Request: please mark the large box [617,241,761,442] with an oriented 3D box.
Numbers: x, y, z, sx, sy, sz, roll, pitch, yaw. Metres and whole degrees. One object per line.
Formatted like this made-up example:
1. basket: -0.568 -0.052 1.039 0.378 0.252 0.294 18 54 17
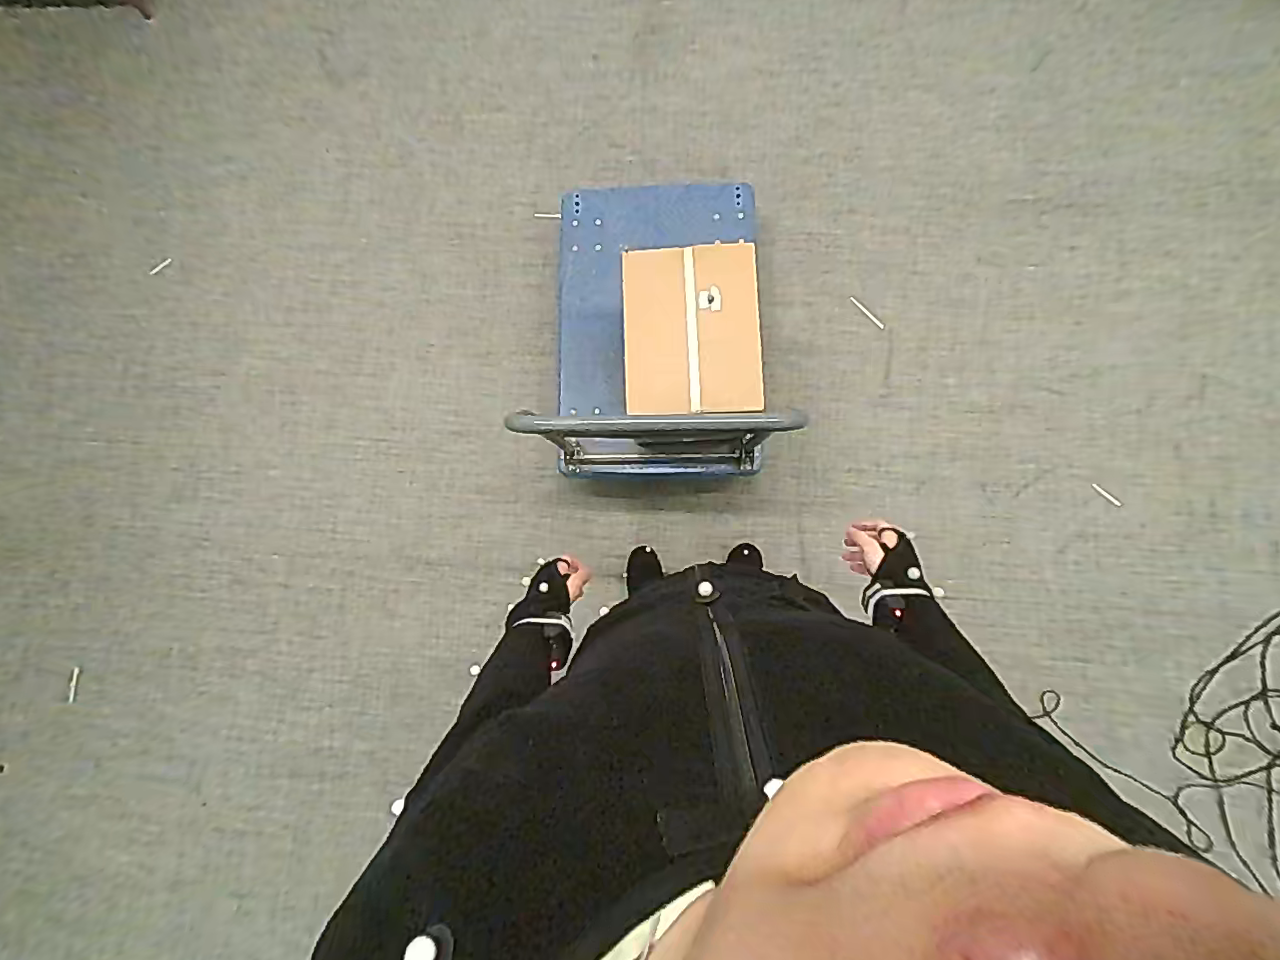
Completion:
1. large box: 0.117 -0.329 1.380 0.320 0.320 0.408 -2 82 3
